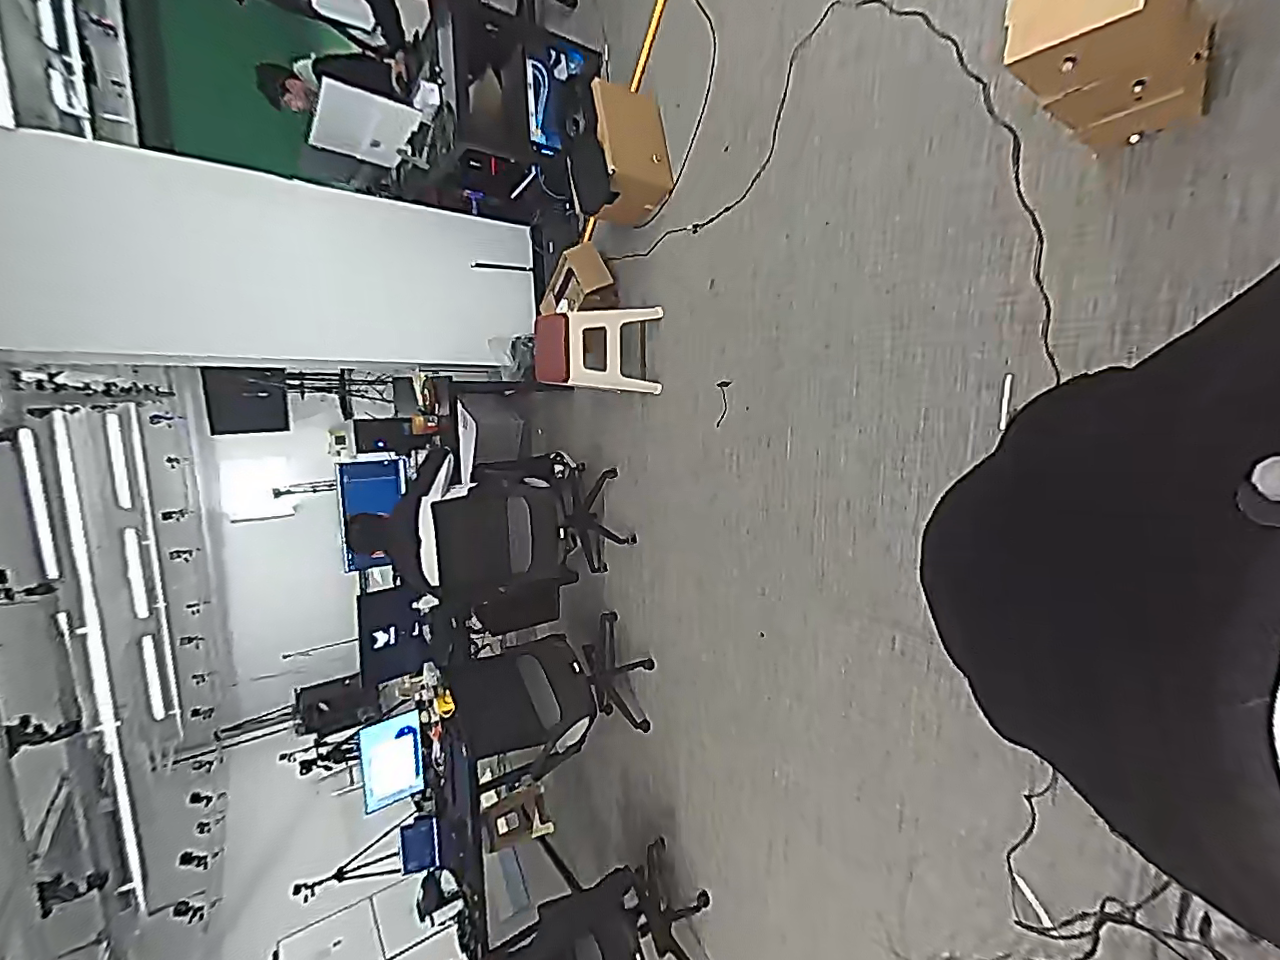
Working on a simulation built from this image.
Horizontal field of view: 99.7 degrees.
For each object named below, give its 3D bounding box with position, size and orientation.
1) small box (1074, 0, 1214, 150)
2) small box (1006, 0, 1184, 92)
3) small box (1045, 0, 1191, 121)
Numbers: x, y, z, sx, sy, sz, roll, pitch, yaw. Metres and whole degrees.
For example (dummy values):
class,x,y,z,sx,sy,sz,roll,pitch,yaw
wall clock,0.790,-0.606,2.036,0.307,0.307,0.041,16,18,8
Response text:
class,x,y,z,sx,sy,sz,roll,pitch,yaw
small box,0.972,-0.777,1.043,0.168,0.176,0.179,8,102,54
small box,0.714,-0.750,0.845,0.179,0.176,0.168,14,106,53
small box,0.839,-0.769,0.951,0.168,0.176,0.179,1,95,54
